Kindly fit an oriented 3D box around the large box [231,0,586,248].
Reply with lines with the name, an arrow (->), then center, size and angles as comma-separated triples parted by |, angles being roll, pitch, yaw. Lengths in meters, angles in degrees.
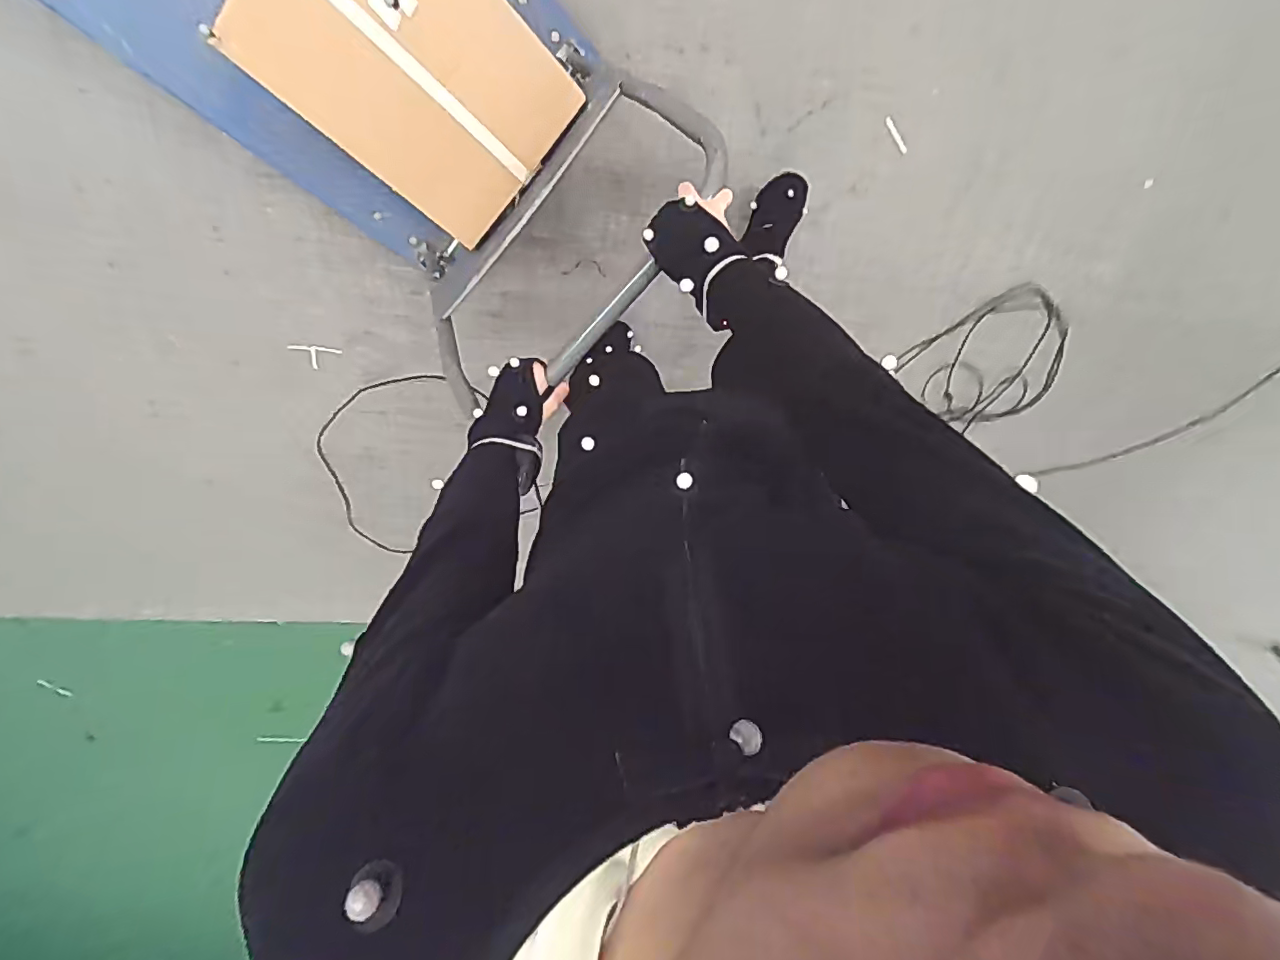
large box -> -0.360, -0.686, 0.915 | 0.320, 0.320, 0.408 | -44, 130, 18
